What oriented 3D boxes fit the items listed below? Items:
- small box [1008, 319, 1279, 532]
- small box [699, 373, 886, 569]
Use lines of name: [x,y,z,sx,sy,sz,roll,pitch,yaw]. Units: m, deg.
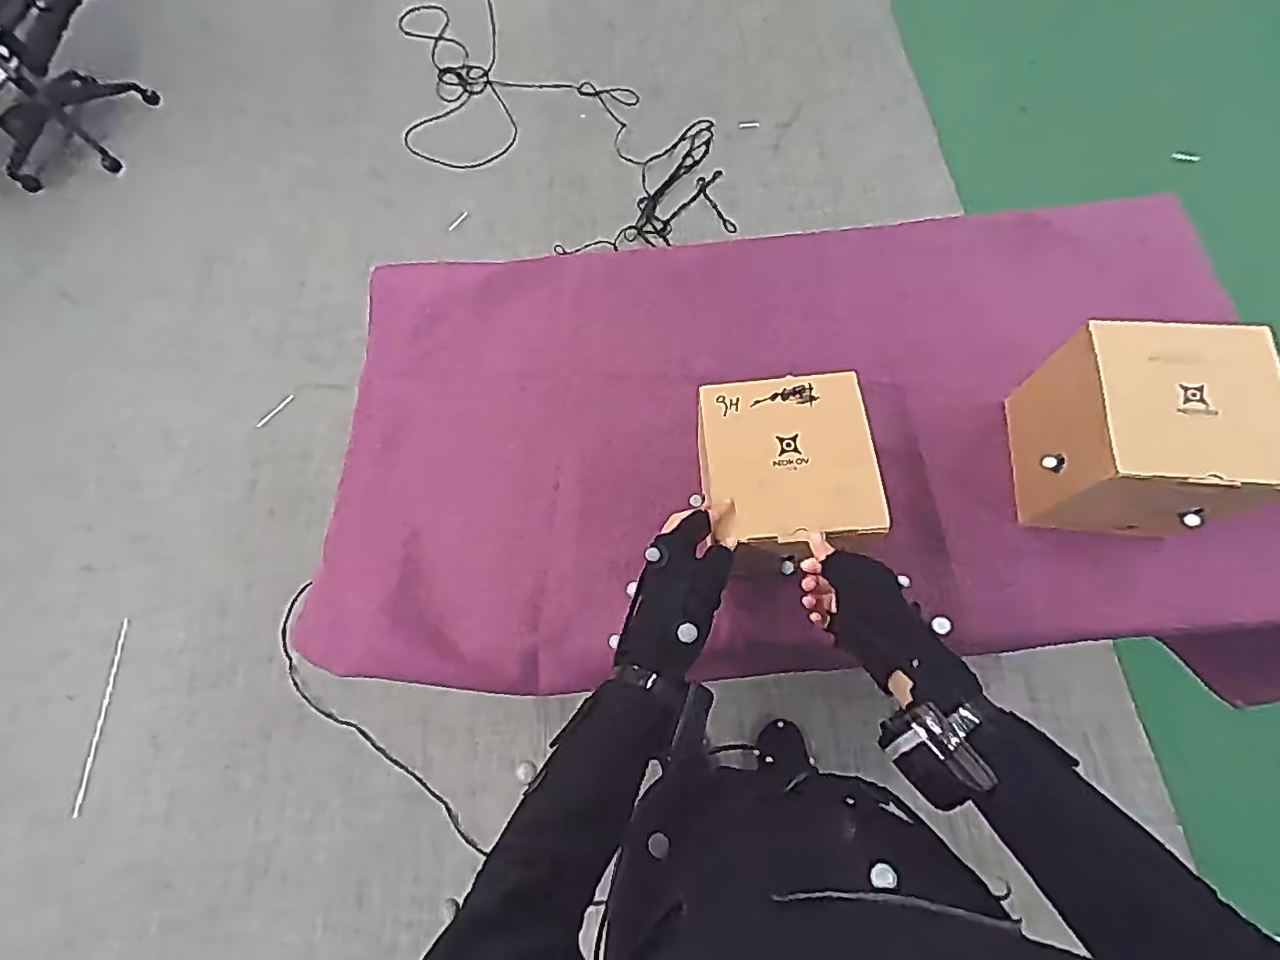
small box: [0.538,-0.050,0.591,0.168,0.176,0.179,5,70,8]
small box: [0.157,0.002,0.615,0.168,0.176,0.179,-5,69,4]
